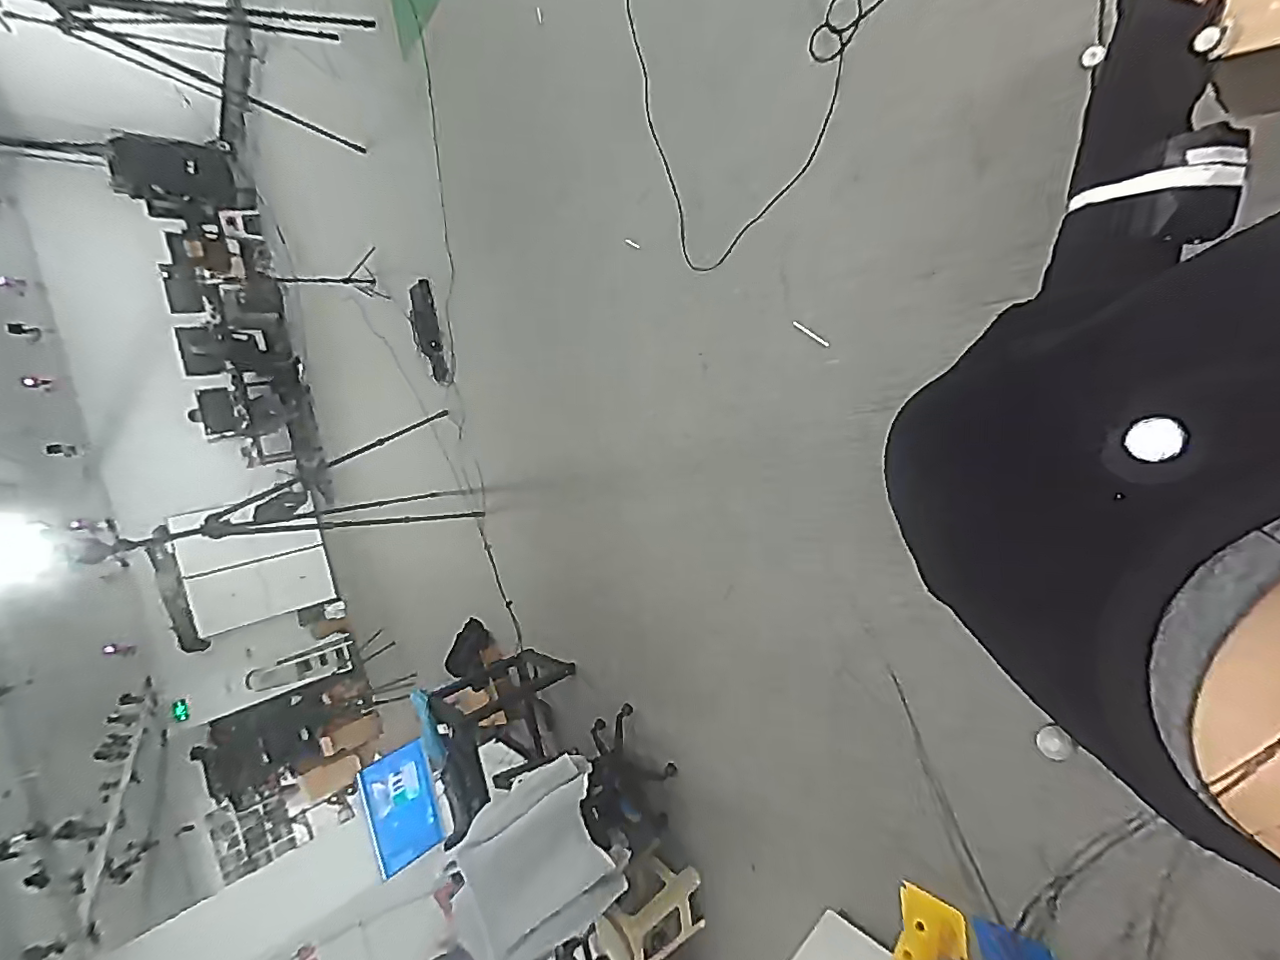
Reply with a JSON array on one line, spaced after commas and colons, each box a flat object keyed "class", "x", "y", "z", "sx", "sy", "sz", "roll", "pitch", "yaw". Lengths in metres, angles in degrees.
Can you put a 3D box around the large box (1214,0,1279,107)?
[{"class": "large box", "x": 0.608, "y": -0.417, "z": 0.250, "sx": 0.408, "sy": 0.320, "sz": 0.320, "roll": 19, "pitch": 120, "yaw": 44}]
